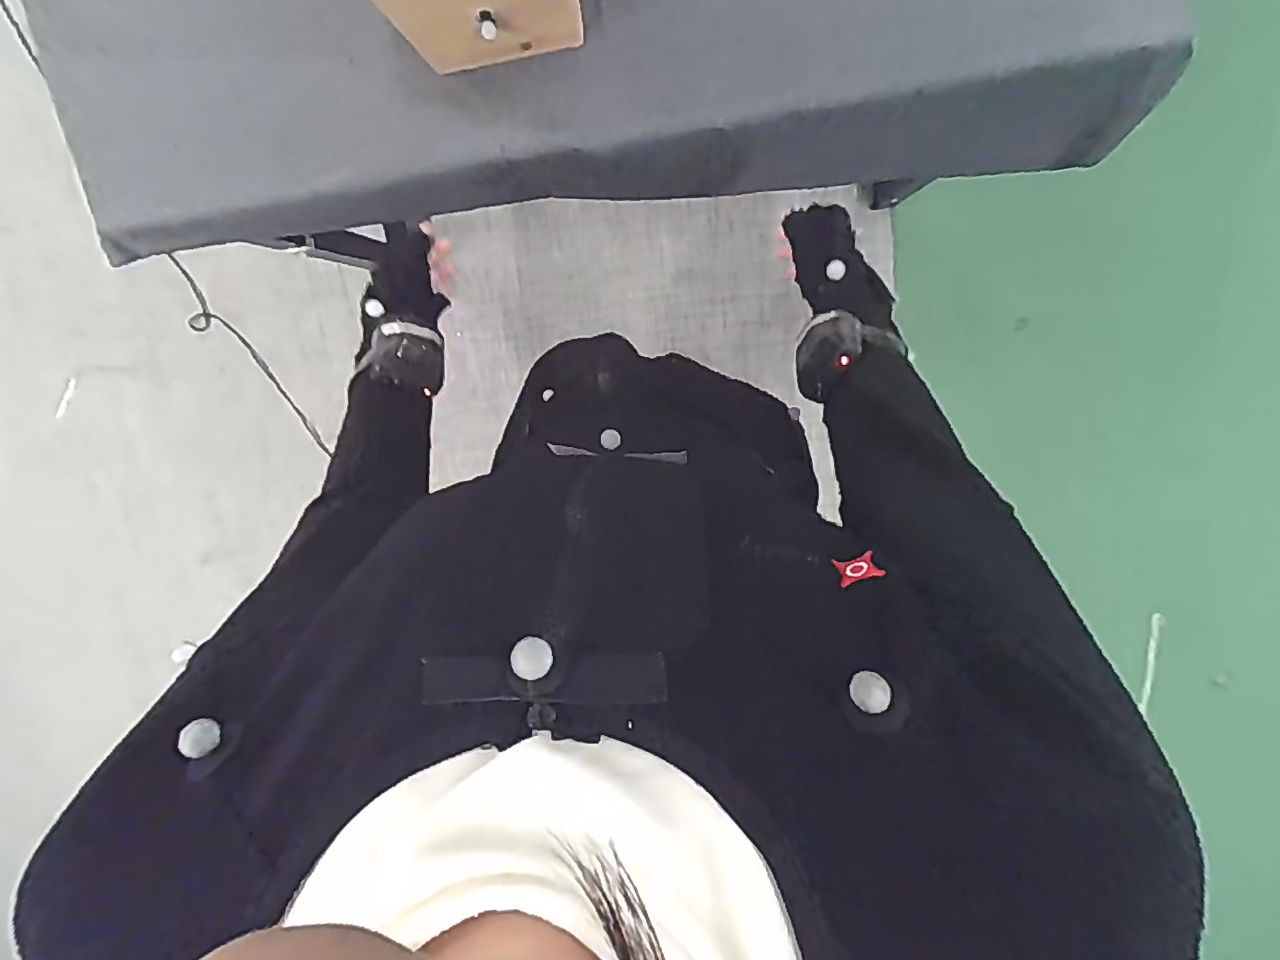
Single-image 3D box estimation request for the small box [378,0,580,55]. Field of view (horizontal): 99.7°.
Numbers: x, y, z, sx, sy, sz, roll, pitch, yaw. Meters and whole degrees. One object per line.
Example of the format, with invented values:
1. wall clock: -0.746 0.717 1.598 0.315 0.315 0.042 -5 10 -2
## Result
1. small box: -0.156 -0.517 0.479 0.168 0.176 0.179 -7 105 6
